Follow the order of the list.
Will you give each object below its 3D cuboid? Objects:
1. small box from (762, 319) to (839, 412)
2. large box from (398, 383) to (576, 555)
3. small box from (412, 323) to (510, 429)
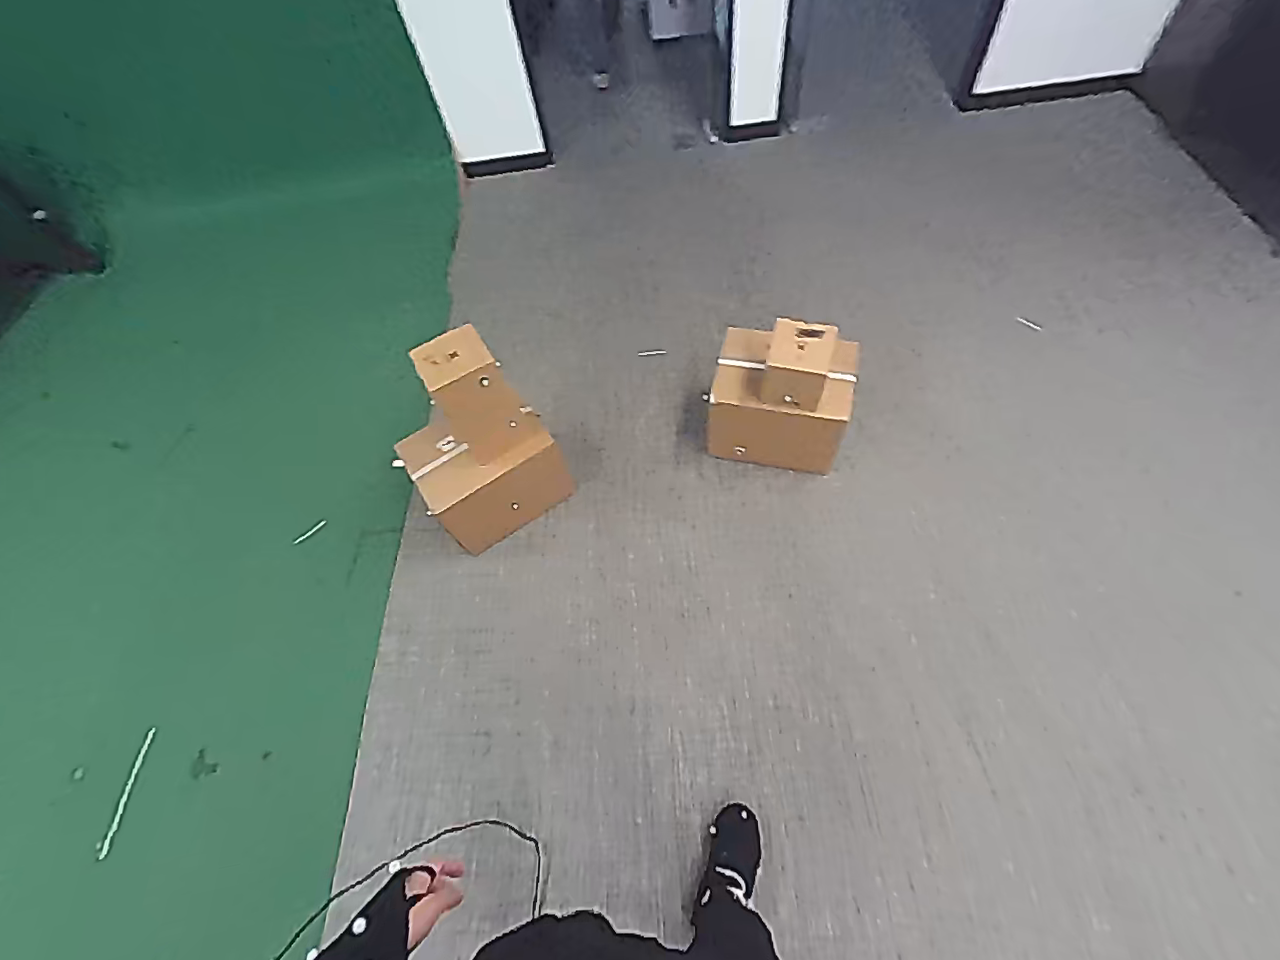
[{"bbox_3d":[0.446,-0.320,1.520,0.168,0.176,0.179,13,64,14],"label":"small box"},{"bbox_3d":[-0.477,-0.031,1.749,0.408,0.320,0.320,-34,60,-12],"label":"large box"},{"bbox_3d":[-0.455,-0.267,1.405,0.179,0.176,0.168,-29,60,-10],"label":"small box"}]
